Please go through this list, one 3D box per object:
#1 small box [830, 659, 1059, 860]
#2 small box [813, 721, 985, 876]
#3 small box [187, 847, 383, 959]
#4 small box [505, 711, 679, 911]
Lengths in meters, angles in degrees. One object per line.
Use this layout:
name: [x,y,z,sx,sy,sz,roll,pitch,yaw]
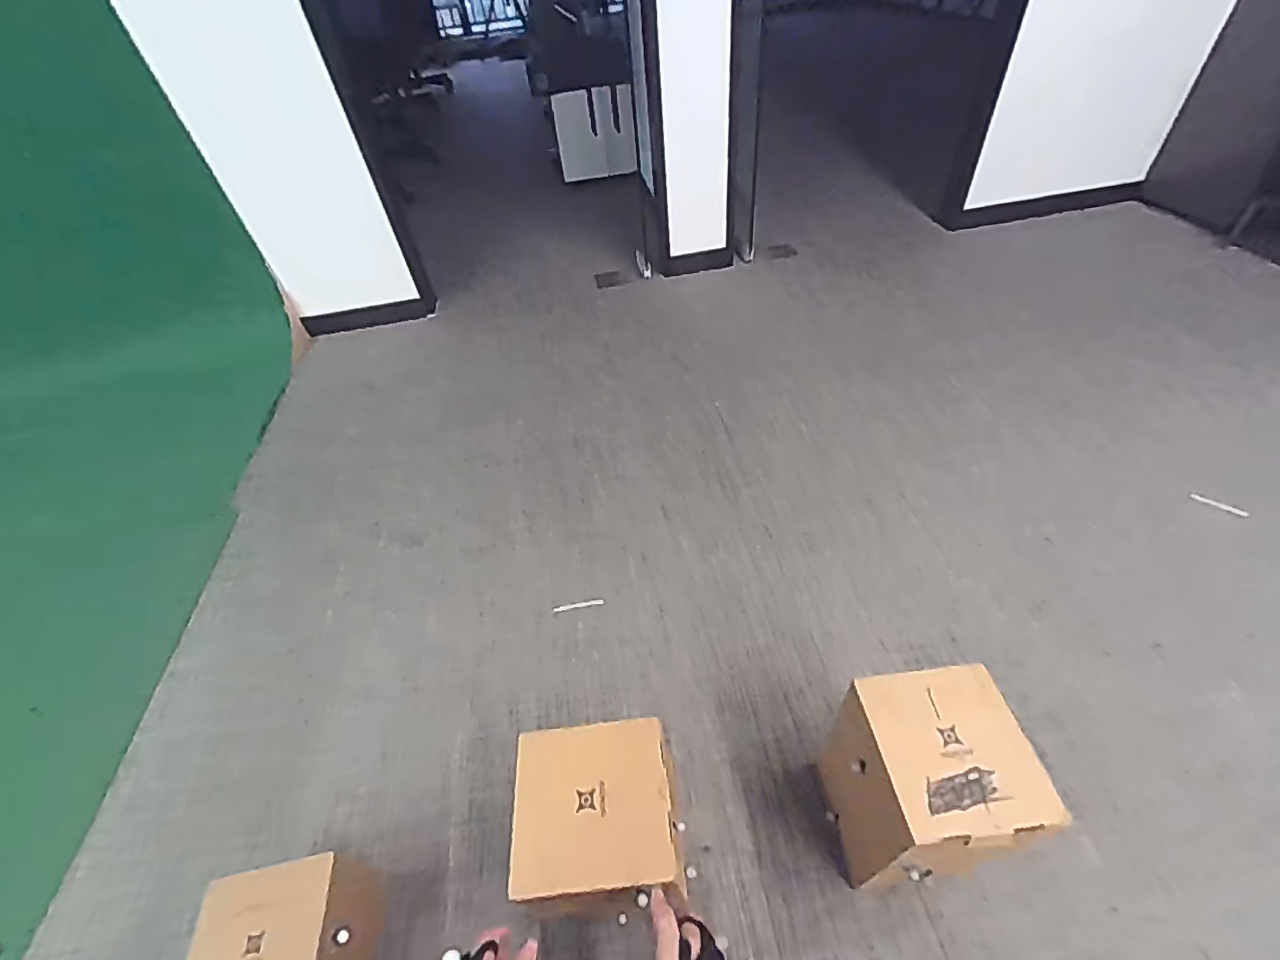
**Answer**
small box: [0.350,0.349,0.666,0.168,0.176,0.179,-7,45,0]
small box: [0.366,0.459,0.789,0.168,0.176,0.179,-8,47,-1]
small box: [-0.472,0.631,0.731,0.168,0.176,0.179,-11,45,-4]
small box: [-0.051,0.408,0.663,0.179,0.176,0.168,-7,45,0]
